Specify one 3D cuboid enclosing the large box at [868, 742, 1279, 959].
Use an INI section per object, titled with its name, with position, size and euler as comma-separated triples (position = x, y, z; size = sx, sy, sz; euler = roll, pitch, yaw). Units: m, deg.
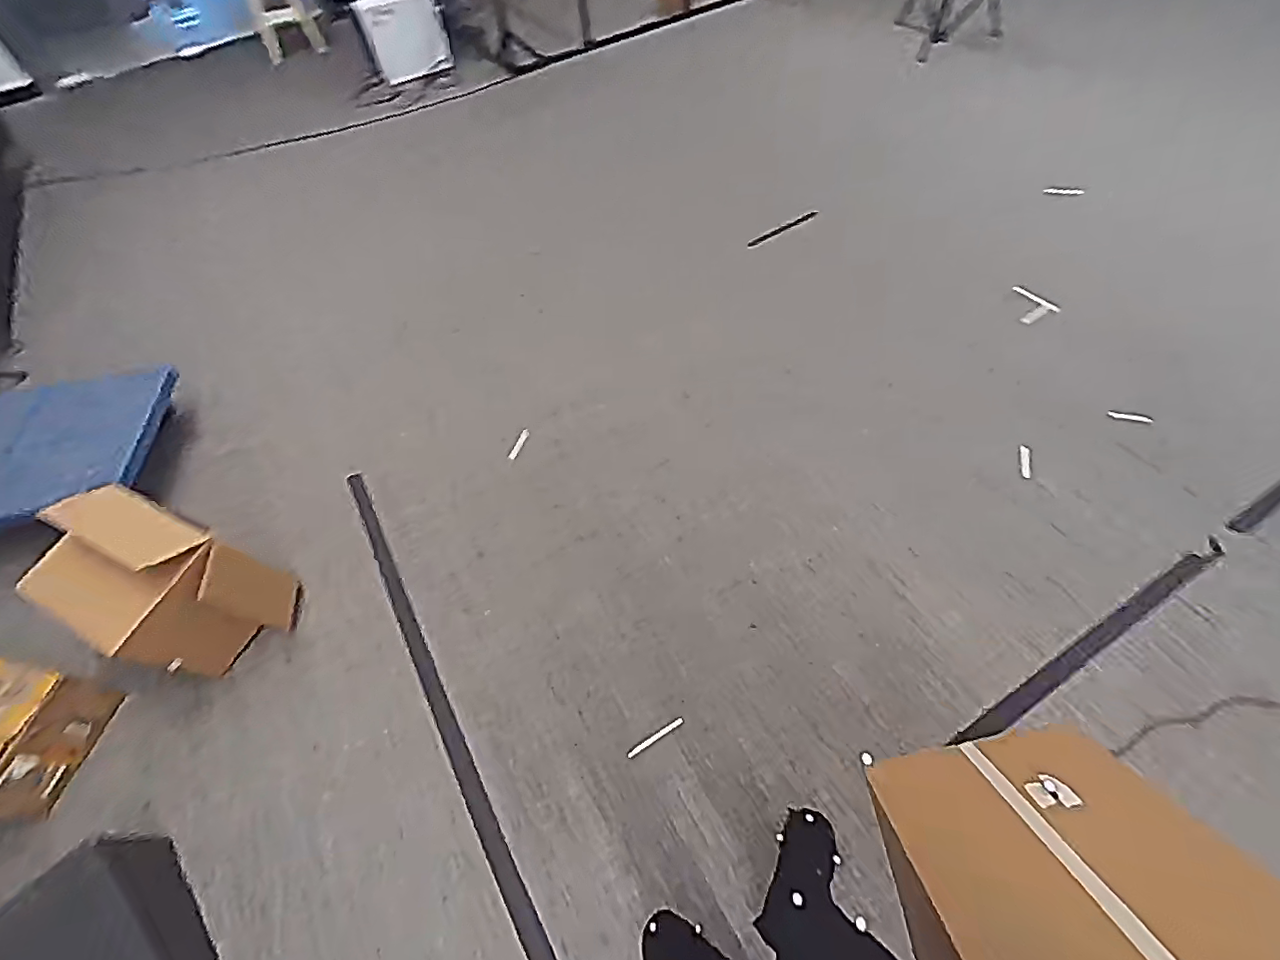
[large box]
position = 0.522, 0.587, 0.640
size = 0.320, 0.408, 0.320
euler = -13, 91, 6
